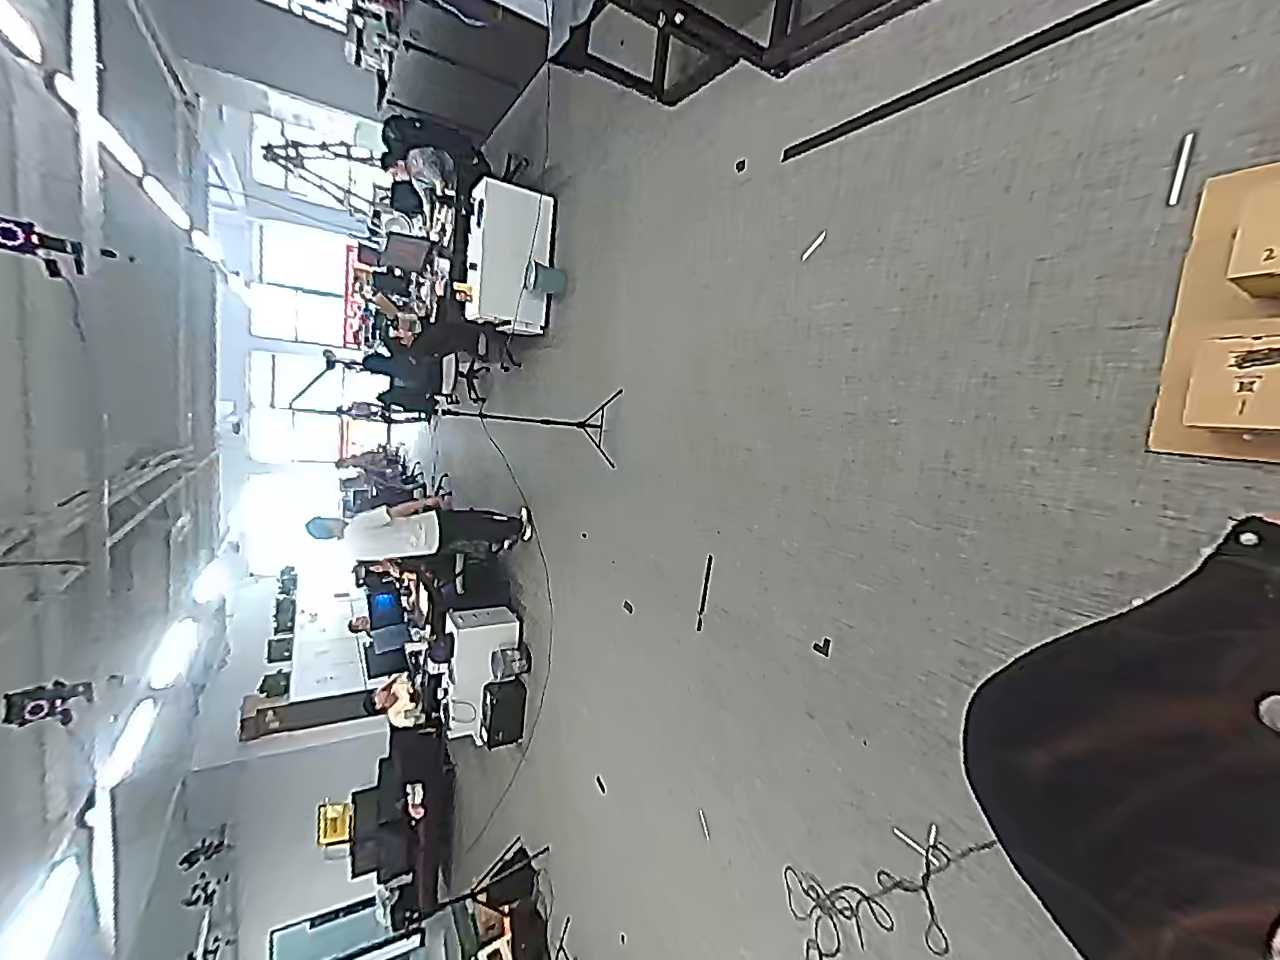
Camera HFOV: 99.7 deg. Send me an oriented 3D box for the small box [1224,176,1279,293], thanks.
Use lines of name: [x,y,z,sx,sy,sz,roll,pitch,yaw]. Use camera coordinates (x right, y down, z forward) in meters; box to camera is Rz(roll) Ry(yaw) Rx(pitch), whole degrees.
small box: [1.254,-0.465,1.013,0.168,0.176,0.179,18,104,58]

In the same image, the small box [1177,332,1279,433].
small box: [1.215,-0.187,1.066,0.168,0.176,0.179,16,103,58]
